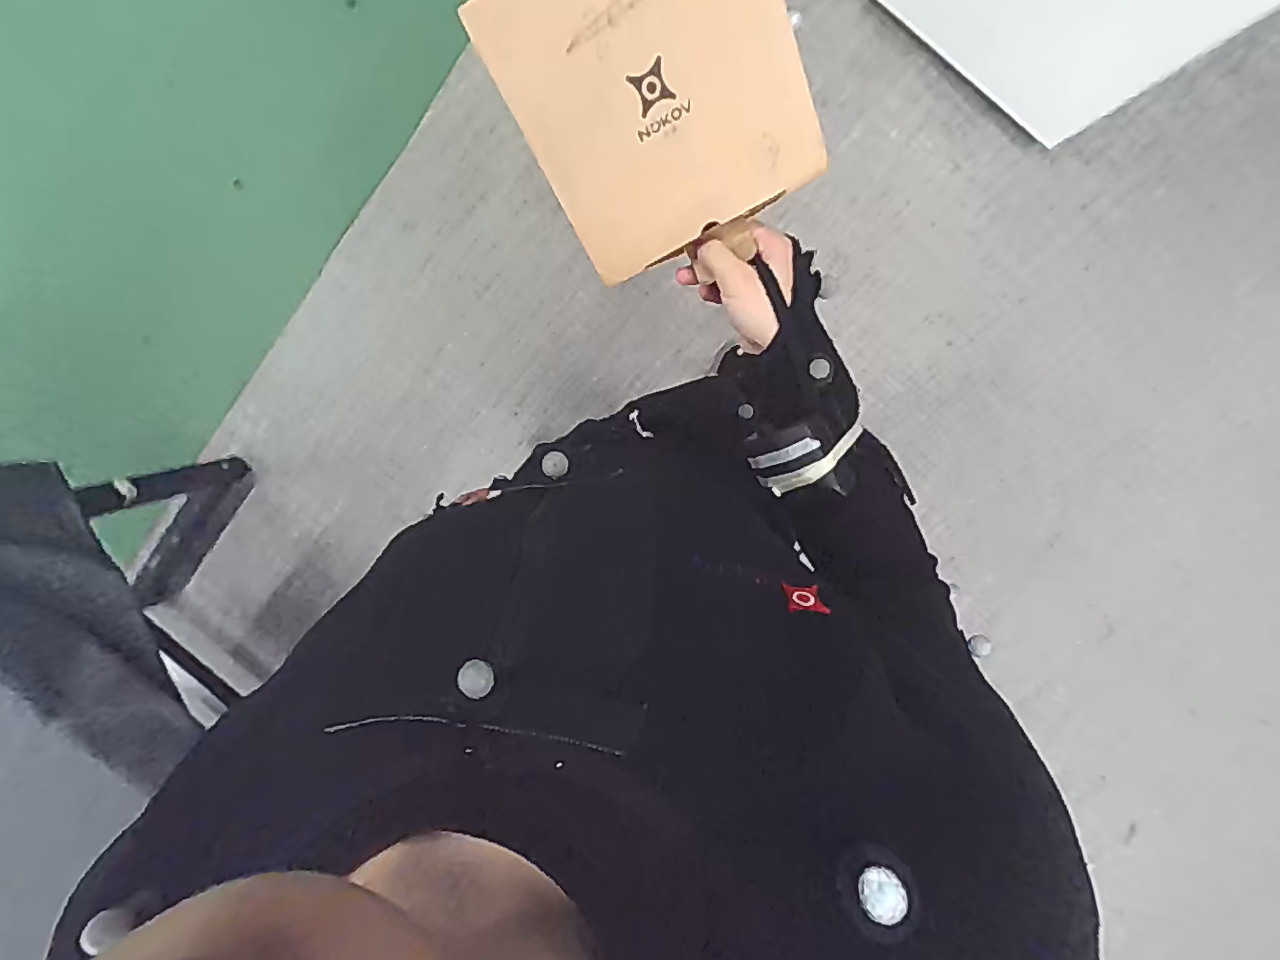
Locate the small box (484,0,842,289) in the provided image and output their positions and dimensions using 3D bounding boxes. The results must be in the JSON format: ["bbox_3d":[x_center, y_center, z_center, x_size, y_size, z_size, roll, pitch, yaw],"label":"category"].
[{"bbox_3d":[0.024,-0.273,0.392,0.168,0.176,0.179,-22,119,17],"label":"small box"}]
